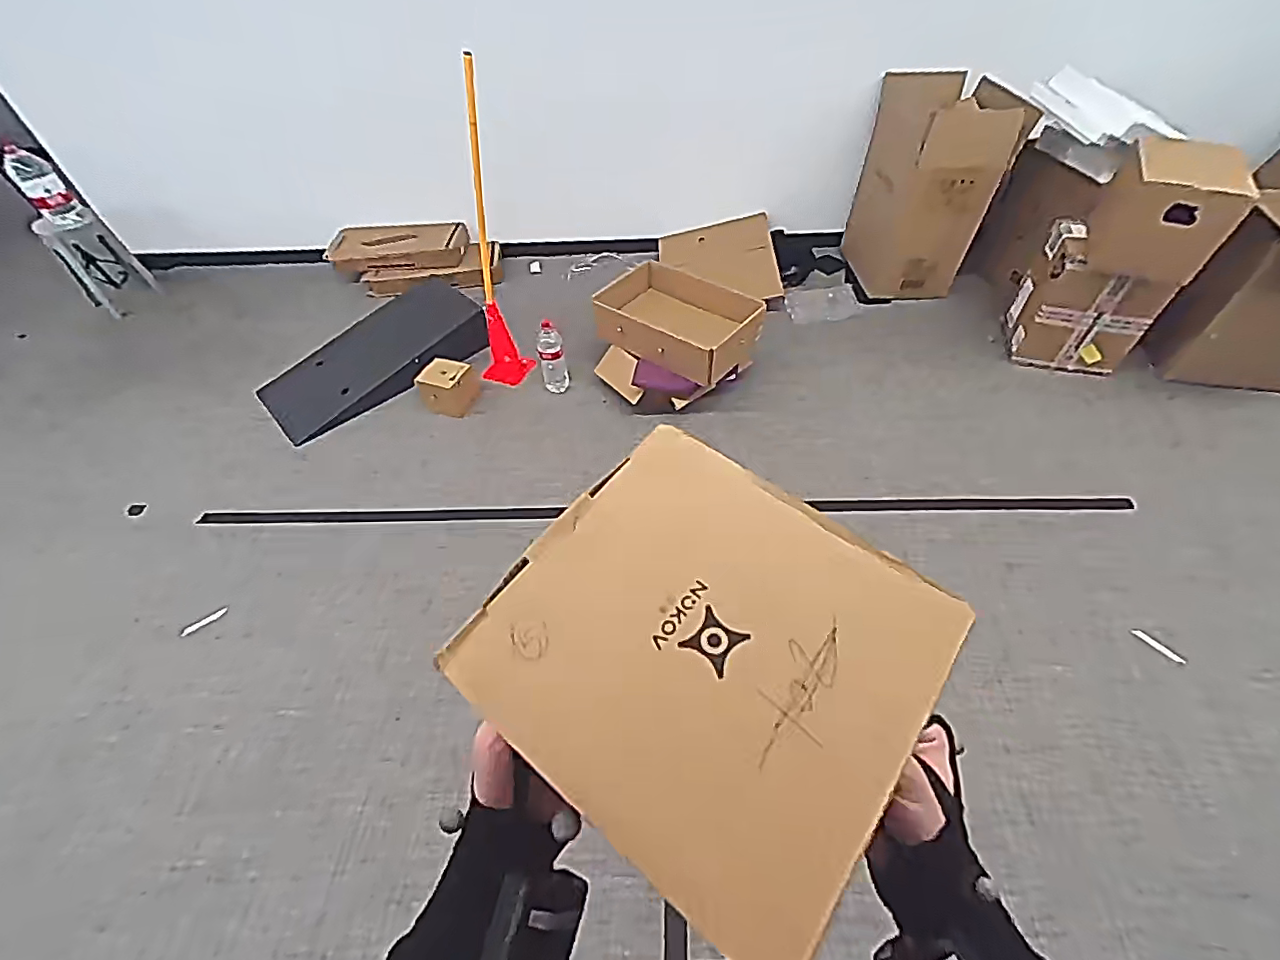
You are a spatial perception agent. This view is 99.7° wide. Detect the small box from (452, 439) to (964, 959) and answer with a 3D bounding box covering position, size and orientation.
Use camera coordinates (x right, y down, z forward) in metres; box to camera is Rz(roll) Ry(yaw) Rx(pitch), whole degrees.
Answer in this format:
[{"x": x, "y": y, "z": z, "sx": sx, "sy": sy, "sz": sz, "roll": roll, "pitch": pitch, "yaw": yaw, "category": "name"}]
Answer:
[{"x": 0.033, "y": 0.116, "z": 0.310, "sx": 0.179, "sy": 0.176, "sz": 0.168, "roll": 33, "pitch": 65, "yaw": 20, "category": "small box"}]
